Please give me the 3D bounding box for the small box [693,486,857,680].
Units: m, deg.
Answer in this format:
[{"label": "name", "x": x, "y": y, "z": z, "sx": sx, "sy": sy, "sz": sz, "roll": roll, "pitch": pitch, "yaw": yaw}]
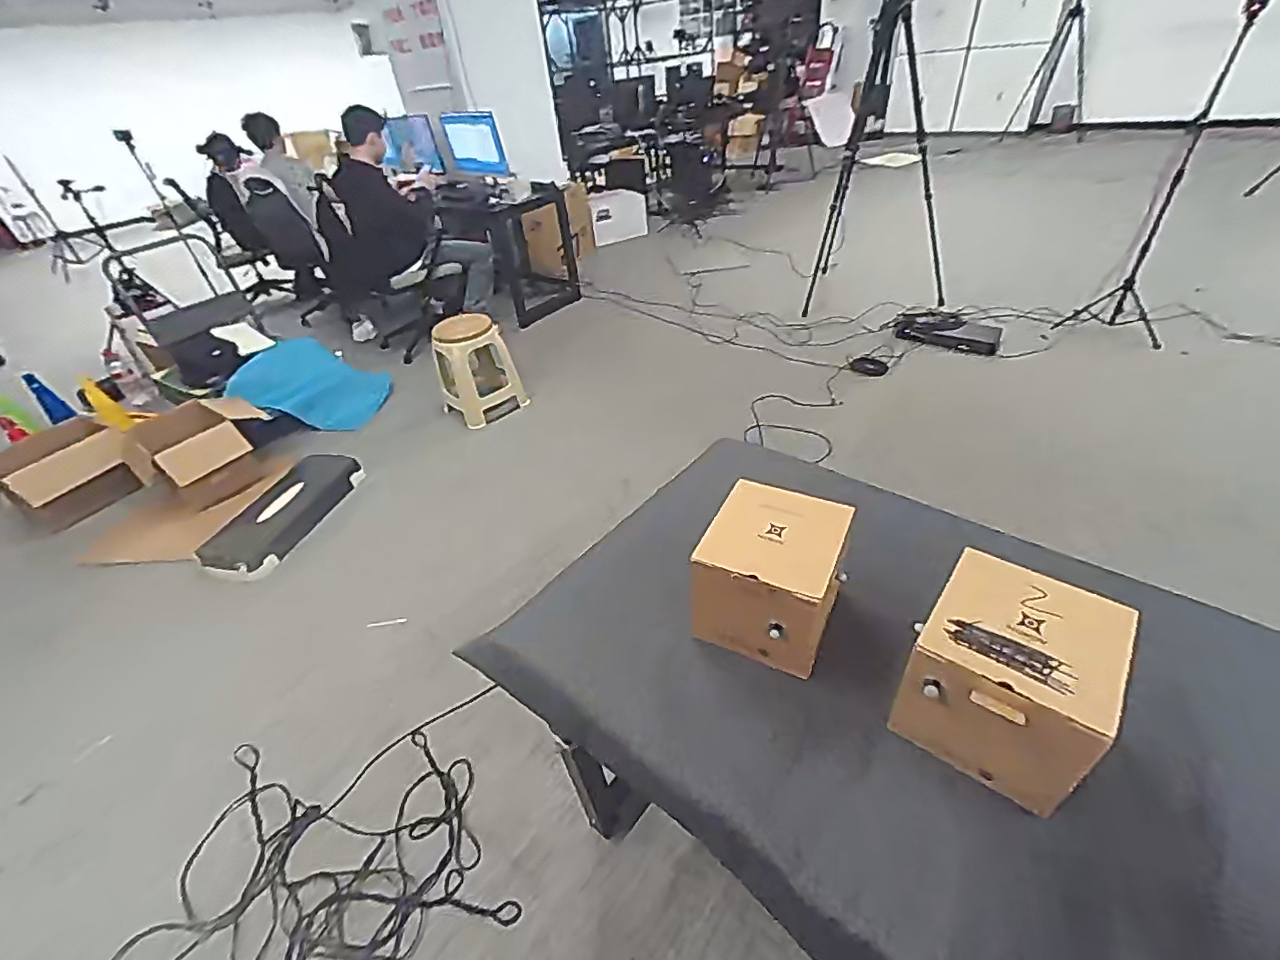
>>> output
[{"label": "small box", "x": 0.186, "y": 0.140, "z": 0.748, "sx": 0.168, "sy": 0.176, "sz": 0.179, "roll": 16, "pitch": 42, "yaw": 25}]
